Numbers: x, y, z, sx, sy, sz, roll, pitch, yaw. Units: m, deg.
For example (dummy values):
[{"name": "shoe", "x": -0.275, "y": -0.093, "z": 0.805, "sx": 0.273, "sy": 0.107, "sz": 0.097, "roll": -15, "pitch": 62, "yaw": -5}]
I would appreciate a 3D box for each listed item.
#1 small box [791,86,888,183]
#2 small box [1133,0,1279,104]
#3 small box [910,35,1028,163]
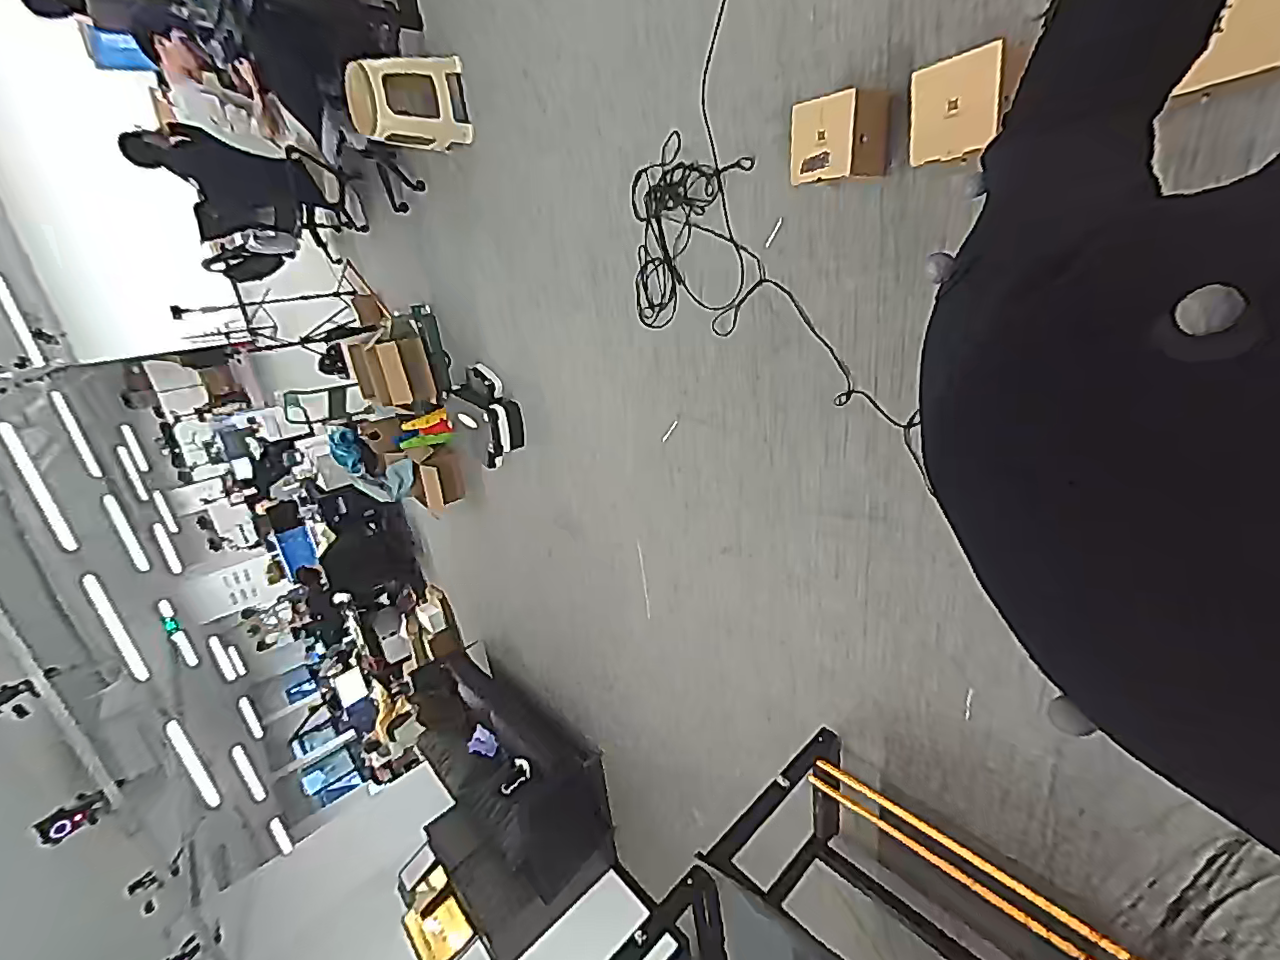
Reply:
[{"name": "small box", "x": 0.492, "y": -0.844, "z": 1.335, "sx": 0.168, "sy": 0.176, "sz": 0.179, "roll": 20, "pitch": 123, "yaw": 45}, {"name": "small box", "x": 0.921, "y": -0.725, "z": 0.862, "sx": 0.168, "sy": 0.176, "sz": 0.179, "roll": 11, "pitch": 117, "yaw": 47}, {"name": "small box", "x": 0.686, "y": -0.779, "z": 1.129, "sx": 0.168, "sy": 0.176, "sz": 0.179, "roll": 14, "pitch": 120, "yaw": 48}]
